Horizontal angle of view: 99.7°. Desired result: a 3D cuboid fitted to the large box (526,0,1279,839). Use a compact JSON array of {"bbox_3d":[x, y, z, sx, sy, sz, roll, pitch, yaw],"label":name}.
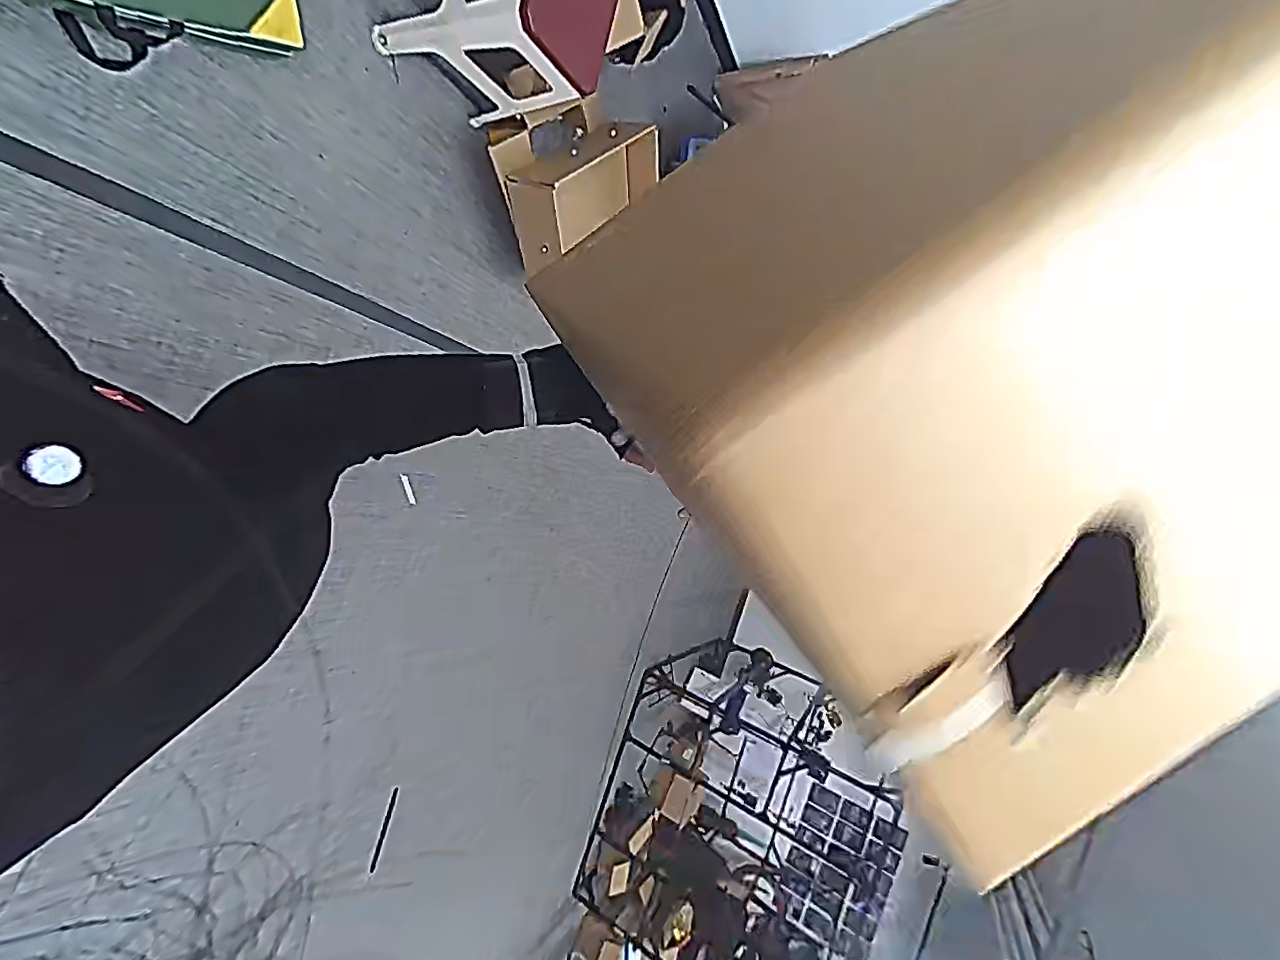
[{"bbox_3d":[0.153,-0.080,0.381,0.320,0.408,0.320,-37,118,-1],"label":"large box"}]
